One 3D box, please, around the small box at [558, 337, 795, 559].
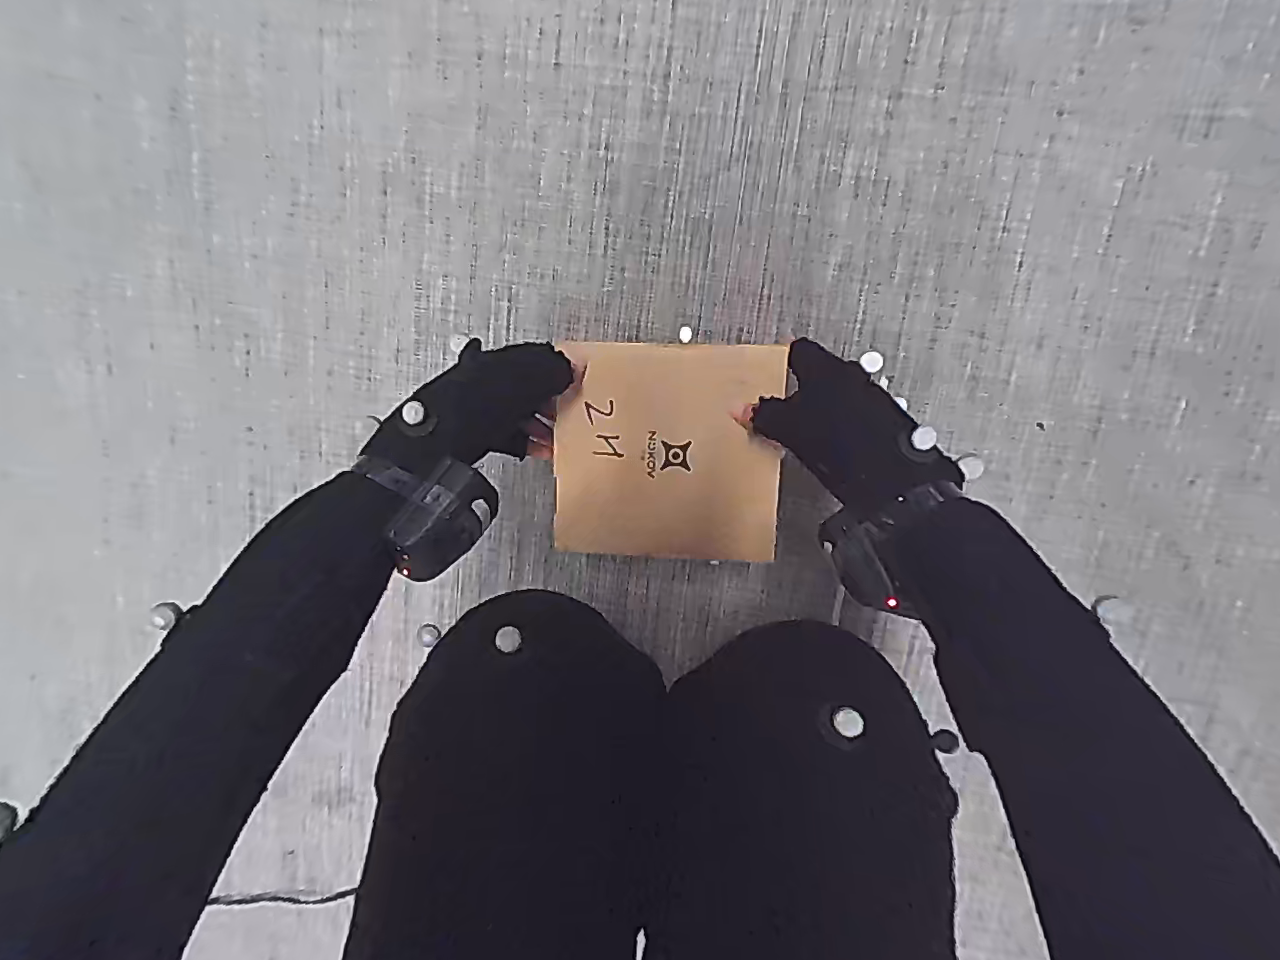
[{"bbox_3d":[0.031,-0.037,0.491,0.179,0.176,0.168,3,100,6],"label":"small box"}]
